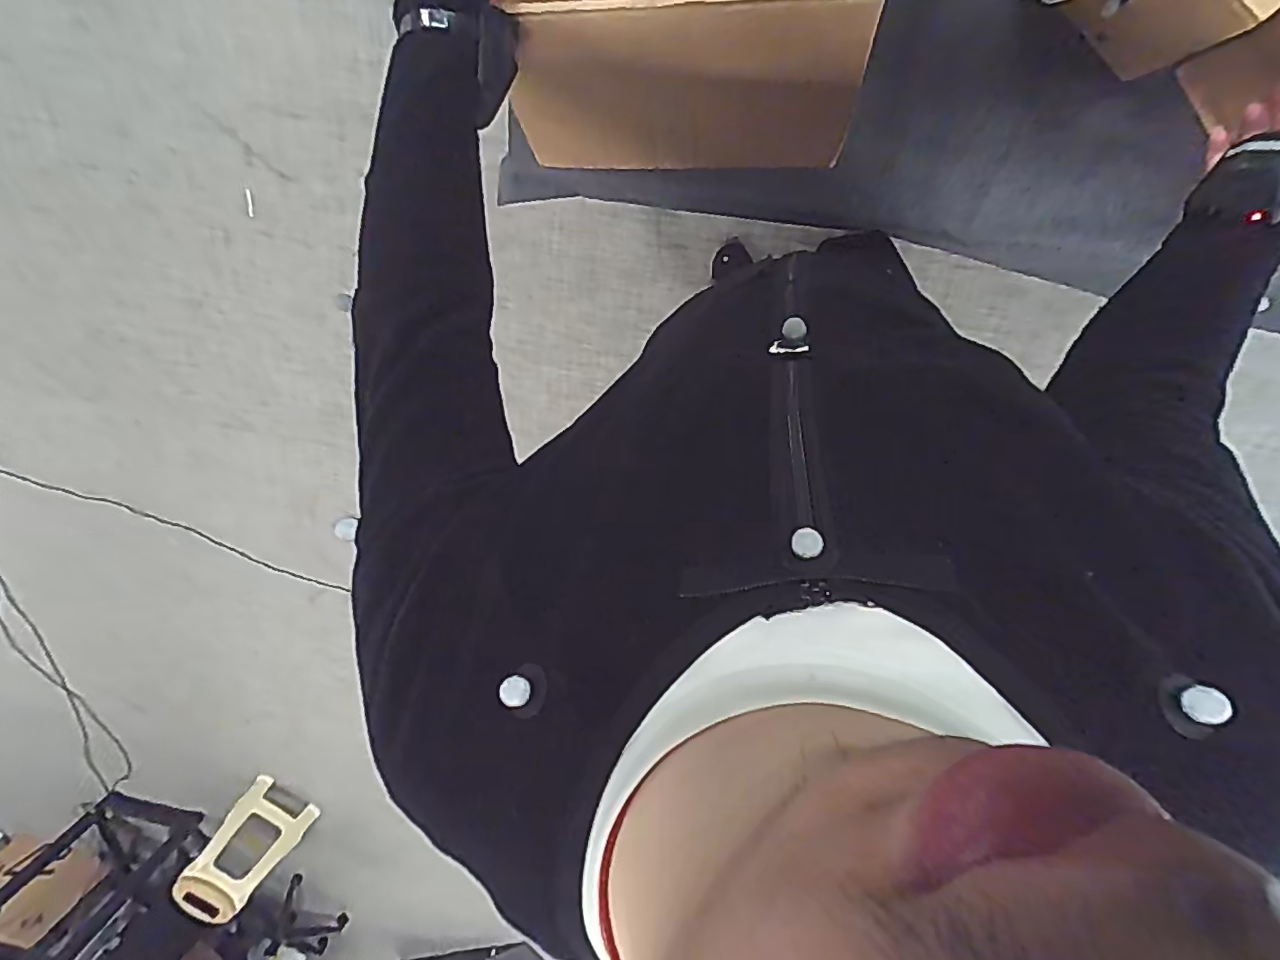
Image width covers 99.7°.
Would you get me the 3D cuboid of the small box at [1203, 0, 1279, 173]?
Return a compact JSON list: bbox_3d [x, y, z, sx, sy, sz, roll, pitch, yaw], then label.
[{"bbox_3d":[0.662,-0.400,0.468,0.179,0.176,0.168,-39,102,23],"label":"small box"}]
